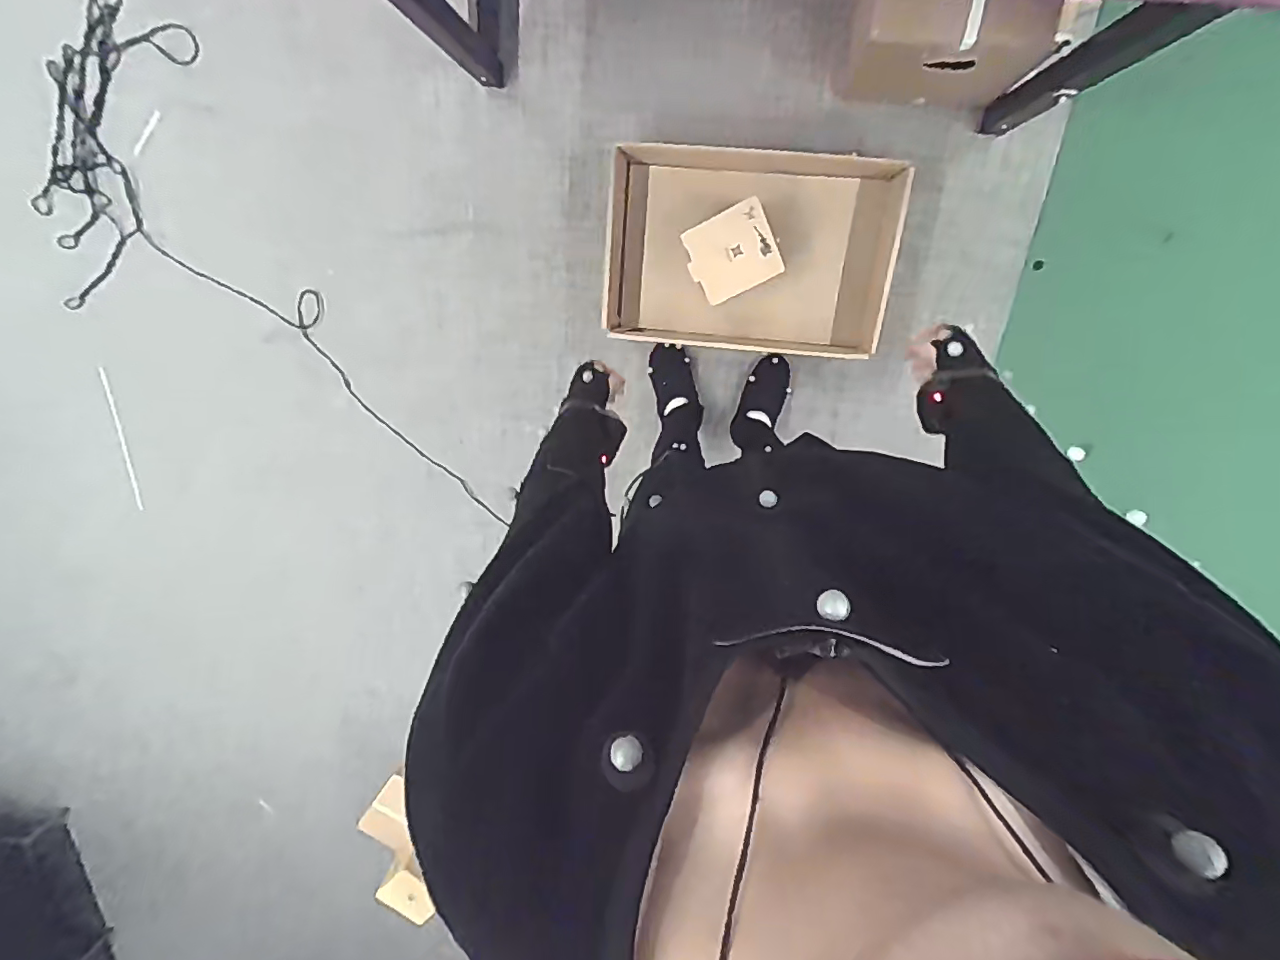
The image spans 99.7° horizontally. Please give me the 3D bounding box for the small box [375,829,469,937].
[{"bbox_3d":[-0.641,1.196,1.613,0.168,0.176,0.179,39,110,-6],"label":"small box"}]

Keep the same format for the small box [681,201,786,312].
[{"bbox_3d":[0.209,-0.489,1.208,0.179,0.176,0.168,-23,104,15],"label":"small box"}]

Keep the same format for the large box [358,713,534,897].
[{"bbox_3d":[-0.641,1.087,1.835,0.408,0.320,0.320,35,109,-3],"label":"large box"}]
